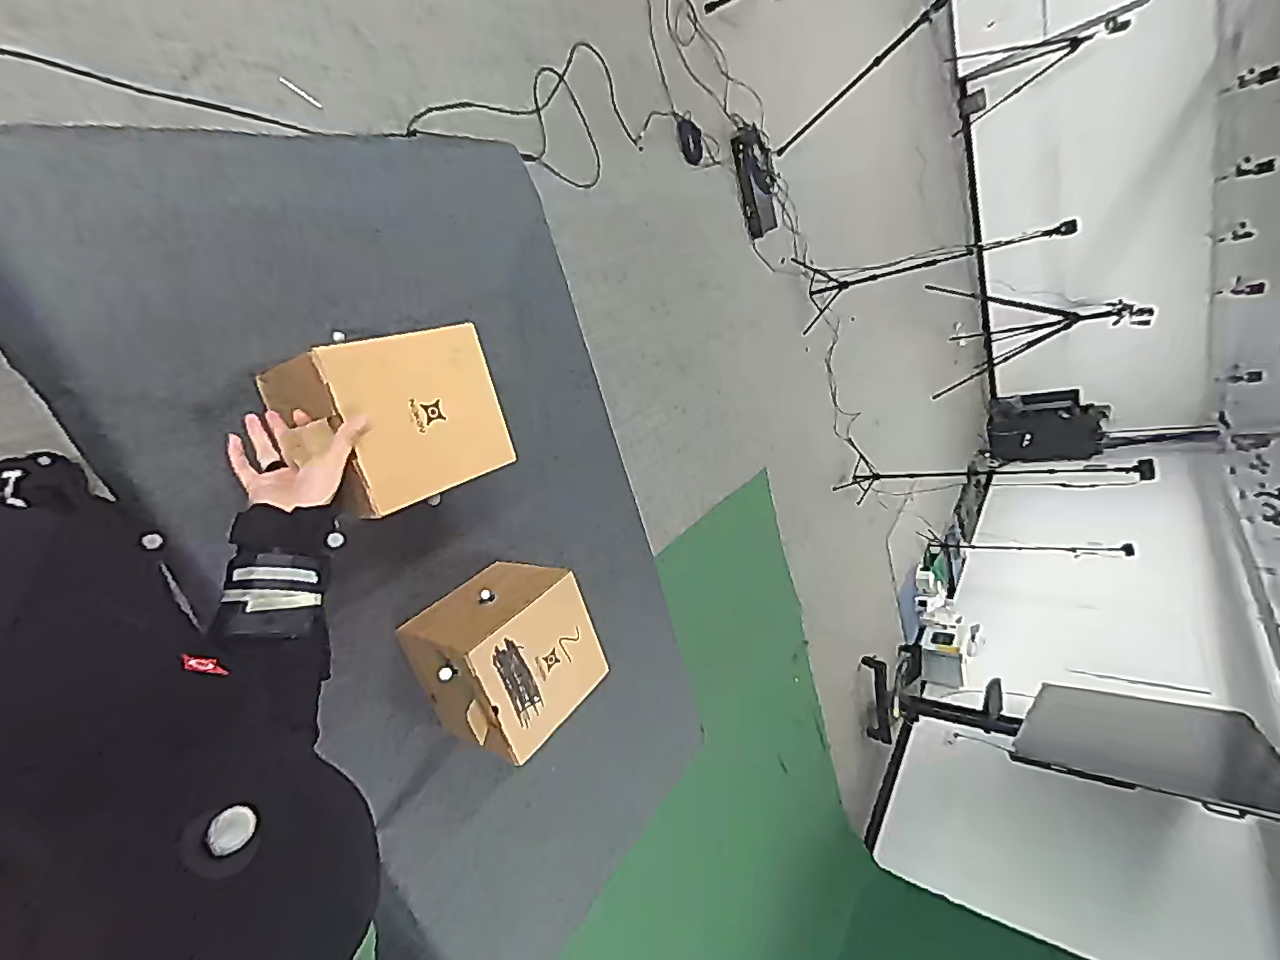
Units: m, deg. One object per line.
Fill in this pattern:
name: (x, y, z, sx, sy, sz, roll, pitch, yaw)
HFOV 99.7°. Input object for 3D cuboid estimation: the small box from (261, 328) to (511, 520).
small box: (-0.284, -0.066, 0.615, 0.179, 0.176, 0.168, -30, 112, -45)
